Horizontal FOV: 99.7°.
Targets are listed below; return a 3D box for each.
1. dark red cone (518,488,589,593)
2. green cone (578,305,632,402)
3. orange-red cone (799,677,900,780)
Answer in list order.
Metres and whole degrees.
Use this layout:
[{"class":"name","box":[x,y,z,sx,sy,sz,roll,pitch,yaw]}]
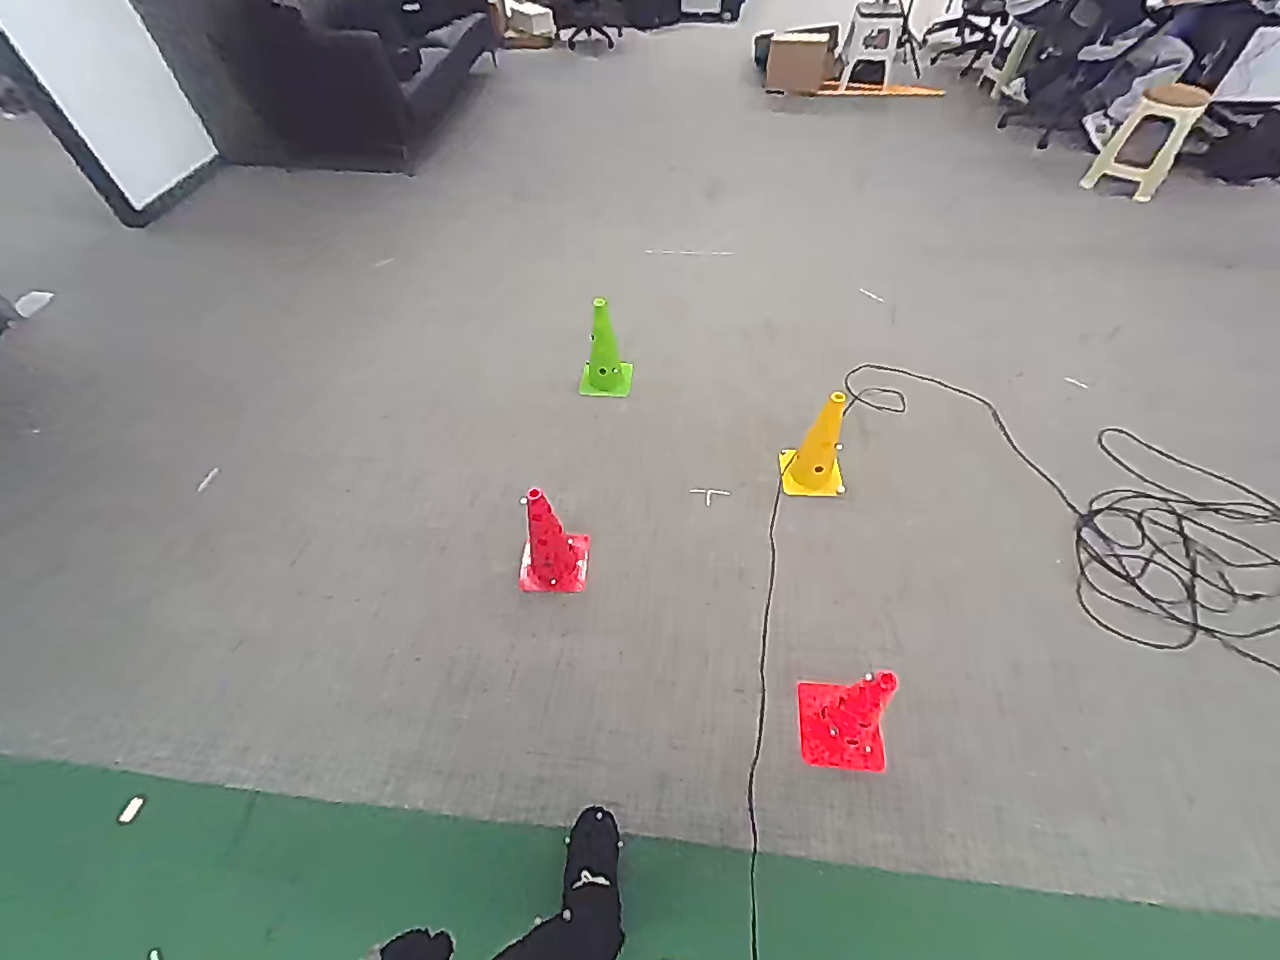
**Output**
[{"class":"dark red cone","box":[-0.261,0.149,1.501,0.202,0.394,0.201,0,53,1]},{"class":"green cone","box":[-0.139,-0.491,2.041,0.202,0.368,0.200,4,52,3]},{"class":"orange-red cone","box":[0.499,0.519,1.213,0.198,0.360,0.199,5,51,4]}]
